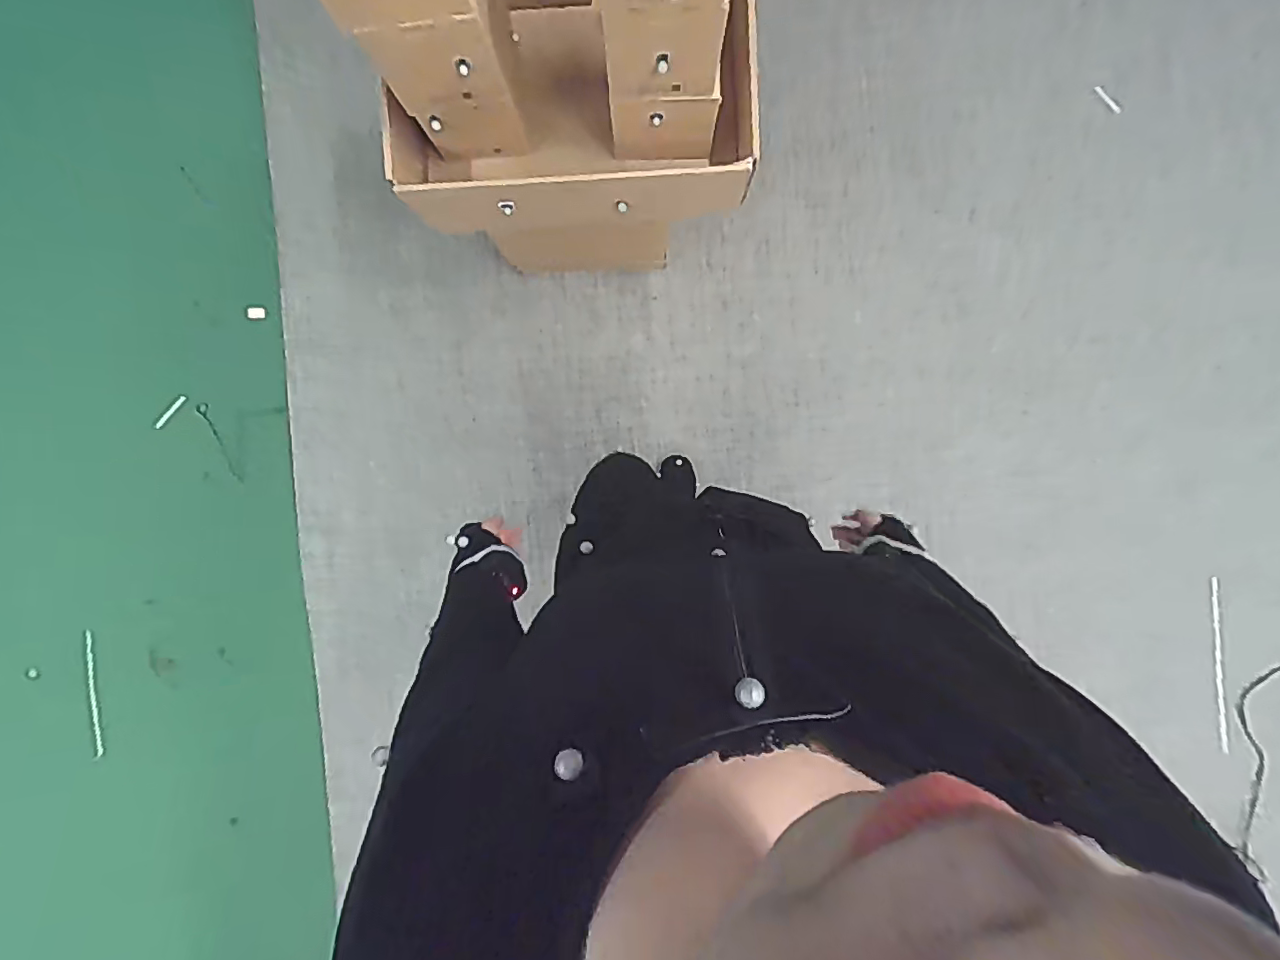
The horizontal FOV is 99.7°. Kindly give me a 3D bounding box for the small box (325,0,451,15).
[{"bbox_3d":[-0.311,-0.664,0.594,0.179,0.176,0.168,-8,92,1],"label":"small box"}]

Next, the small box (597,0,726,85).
[{"bbox_3d":[0.031,-0.684,0.747,0.168,0.176,0.179,0,93,1],"label":"small box"}]

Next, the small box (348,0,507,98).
[{"bbox_3d":[-0.293,-0.671,0.756,0.168,0.176,0.179,-7,92,1],"label":"small box"}]
